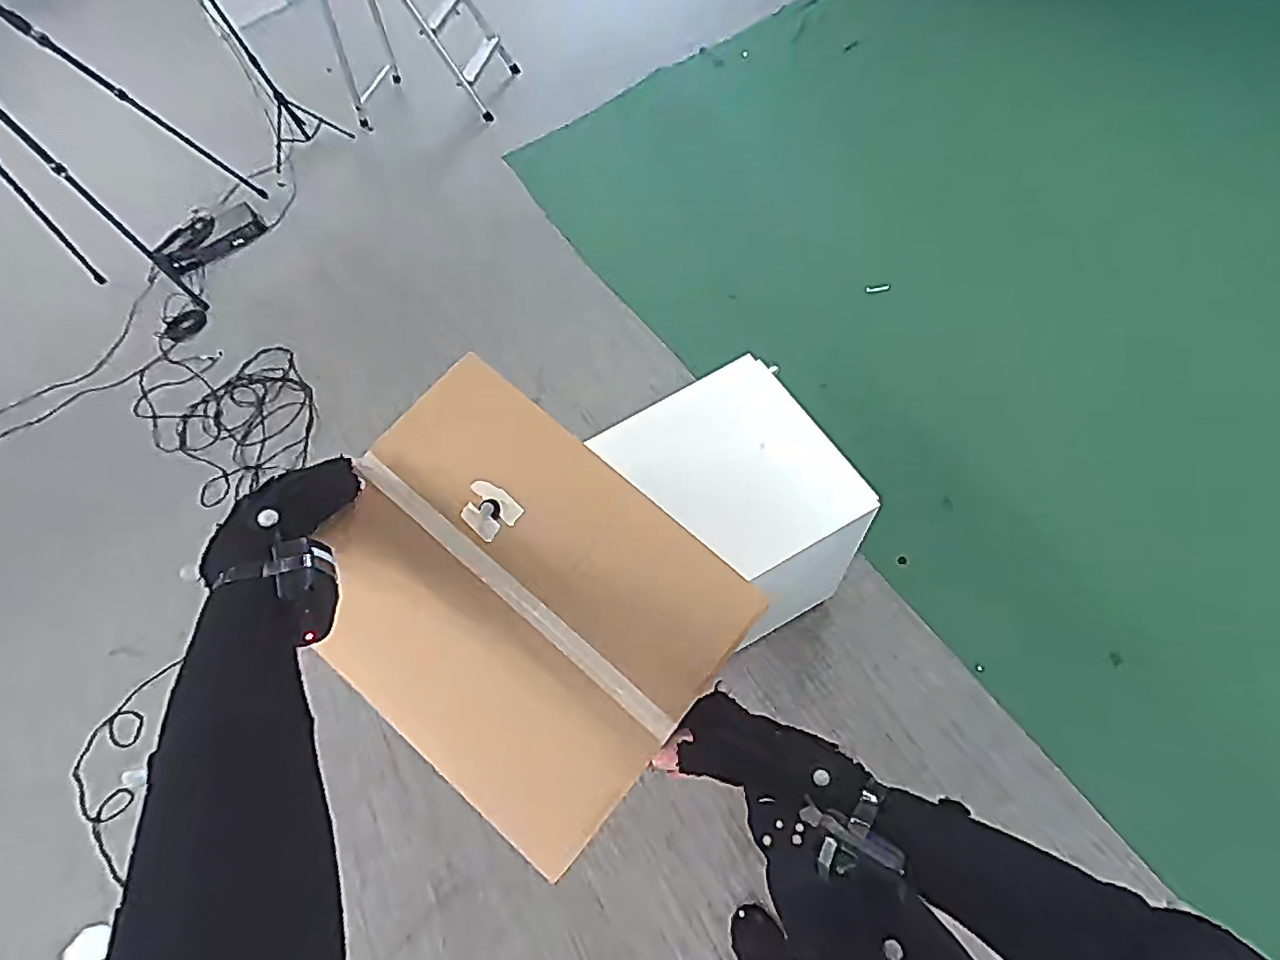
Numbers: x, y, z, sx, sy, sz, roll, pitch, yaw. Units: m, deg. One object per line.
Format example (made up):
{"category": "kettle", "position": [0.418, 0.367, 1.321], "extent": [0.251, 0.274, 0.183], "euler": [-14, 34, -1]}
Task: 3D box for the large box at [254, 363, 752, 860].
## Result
{"category": "large box", "position": [-0.133, 0.140, 0.674], "extent": [0.408, 0.320, 0.320], "euler": [39, 78, 9]}
